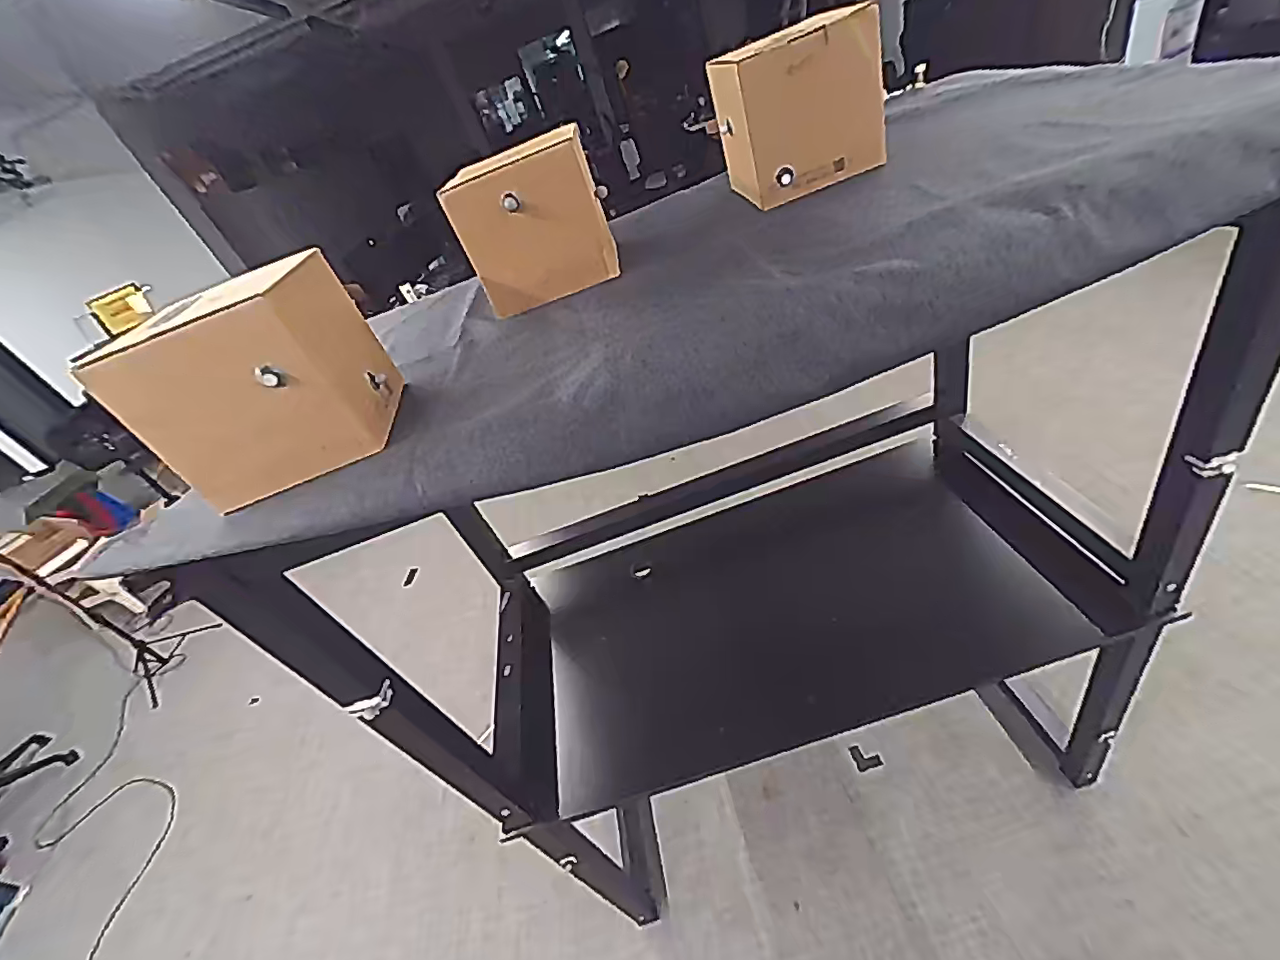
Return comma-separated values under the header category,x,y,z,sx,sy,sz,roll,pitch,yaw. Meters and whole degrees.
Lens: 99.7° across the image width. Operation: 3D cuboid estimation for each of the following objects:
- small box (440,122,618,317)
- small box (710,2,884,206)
category,x,y,z,sx,sy,sz,roll,pitch,yaw
small box,-0.133,-0.349,0.730,0.179,0.176,0.168,-18,37,8
small box,0.206,-0.487,0.718,0.168,0.176,0.179,-18,36,6
